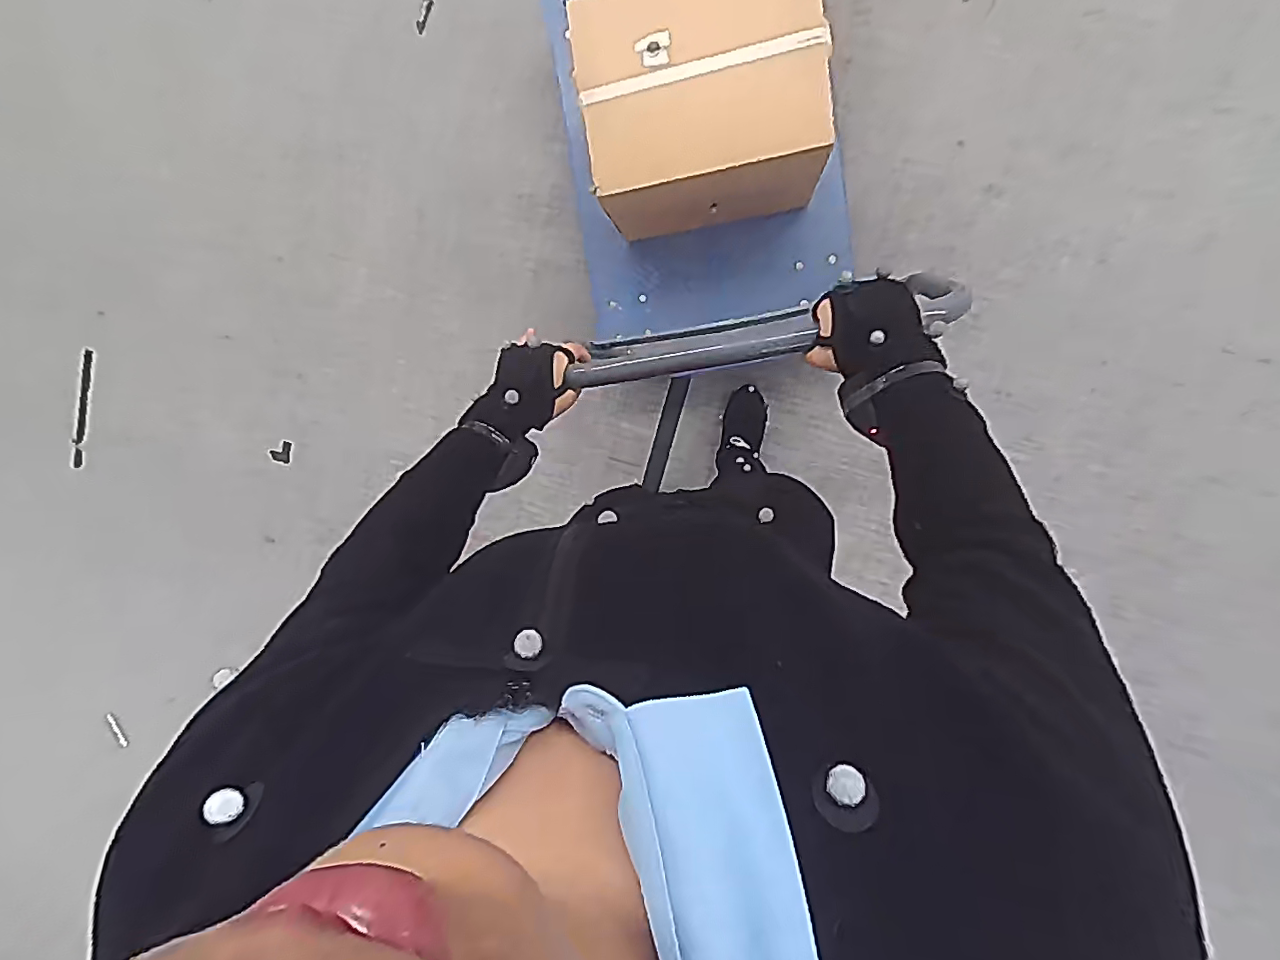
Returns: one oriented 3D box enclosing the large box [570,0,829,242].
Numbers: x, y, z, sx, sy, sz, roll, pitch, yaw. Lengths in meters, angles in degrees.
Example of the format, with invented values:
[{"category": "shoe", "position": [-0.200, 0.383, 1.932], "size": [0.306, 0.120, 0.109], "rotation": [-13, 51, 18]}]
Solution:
[{"category": "large box", "position": [0.122, -0.697, 1.054], "size": [0.408, 0.320, 0.320], "rotation": [-8, 97, 11]}]
